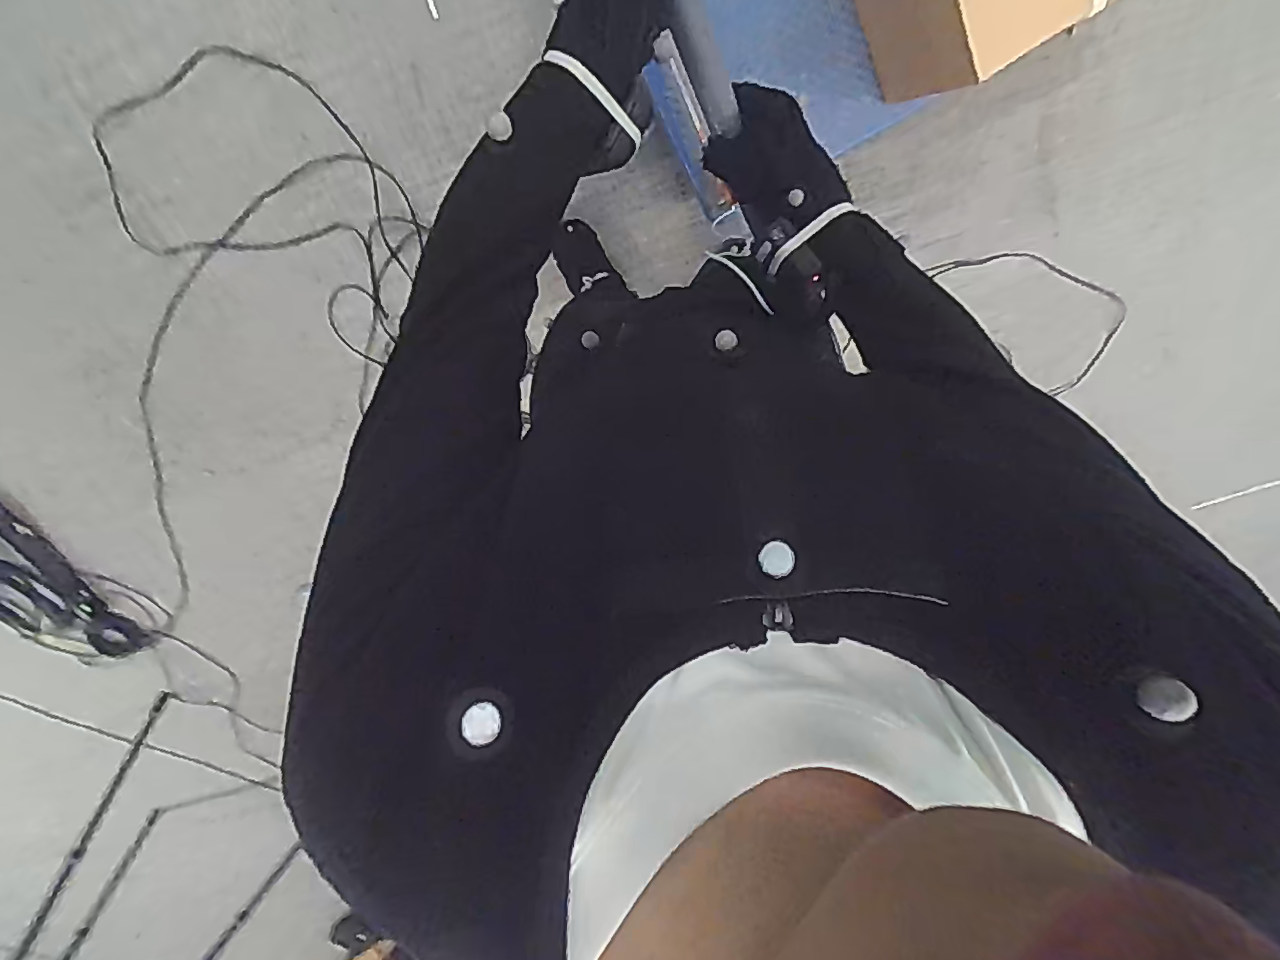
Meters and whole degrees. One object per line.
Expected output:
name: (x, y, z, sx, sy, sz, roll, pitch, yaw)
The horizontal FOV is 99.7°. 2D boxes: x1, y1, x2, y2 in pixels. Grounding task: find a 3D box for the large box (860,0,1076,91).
large box: (0.487, -0.863, 0.761, 0.320, 0.320, 0.408, -30, 116, 15)
